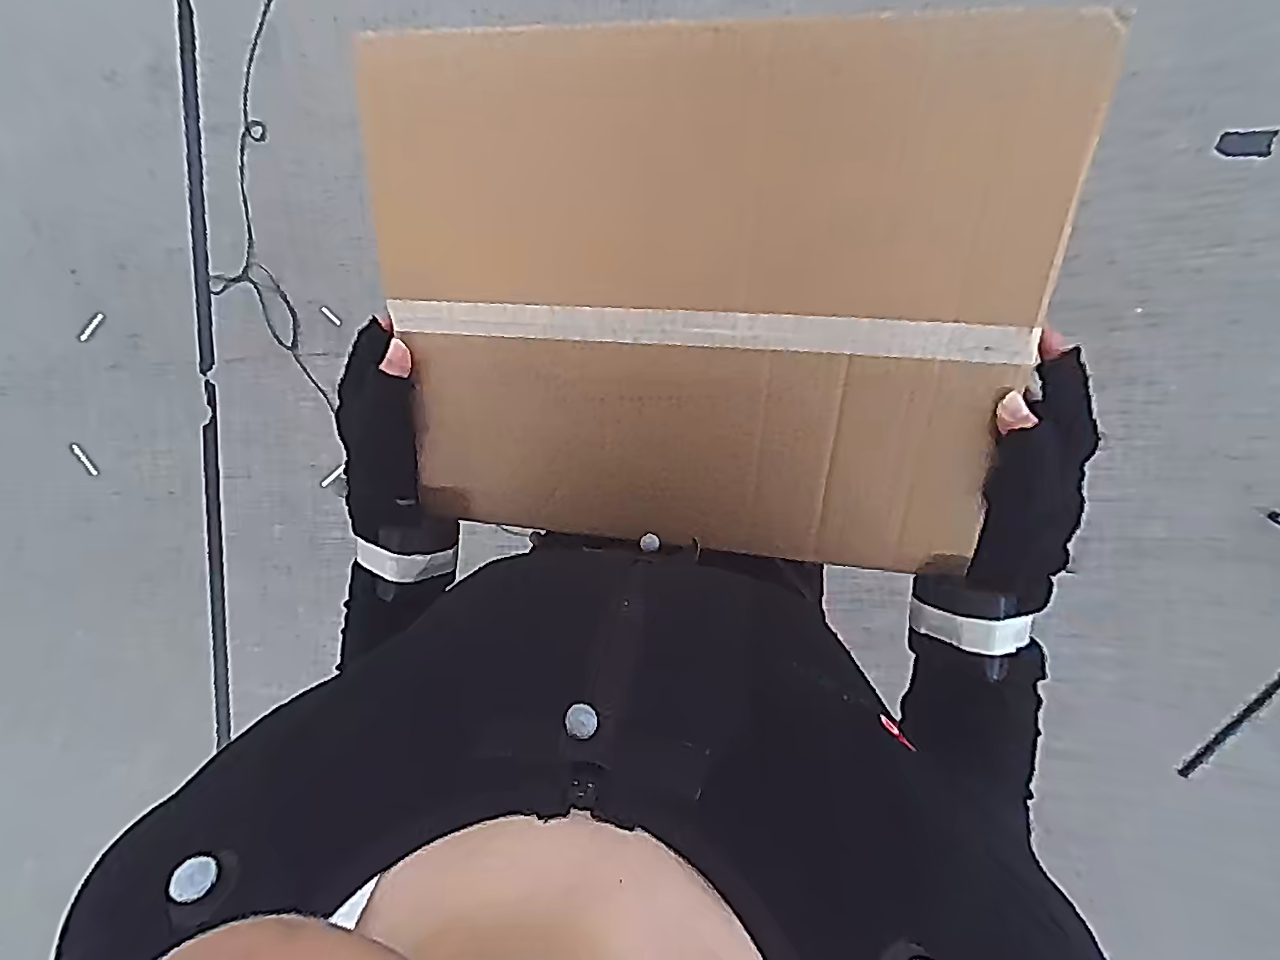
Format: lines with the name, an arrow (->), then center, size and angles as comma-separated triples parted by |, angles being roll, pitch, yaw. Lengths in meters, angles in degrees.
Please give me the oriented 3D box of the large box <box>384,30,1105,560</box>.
large box -> 0.059, -0.155, 0.491 | 0.408, 0.320, 0.320 | 6, 115, 9
